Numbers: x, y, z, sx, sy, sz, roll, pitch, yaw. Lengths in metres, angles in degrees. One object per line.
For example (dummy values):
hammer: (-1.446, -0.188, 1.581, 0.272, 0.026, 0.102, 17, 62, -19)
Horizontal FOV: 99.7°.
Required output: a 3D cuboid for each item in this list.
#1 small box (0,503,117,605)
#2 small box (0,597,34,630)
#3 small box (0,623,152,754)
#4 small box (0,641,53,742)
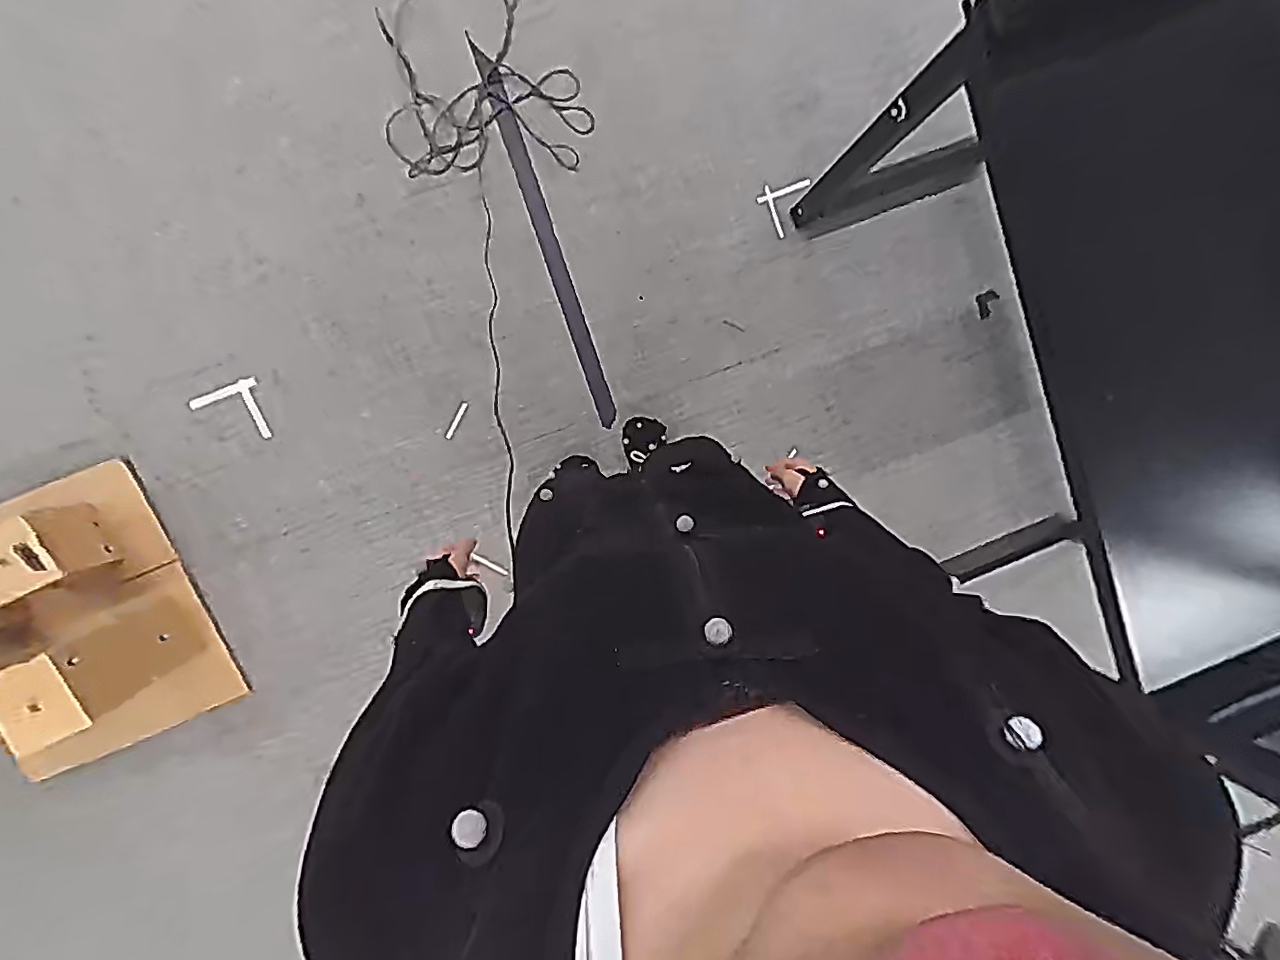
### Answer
small box: (-1.422, 0.169, 1.292, 0.179, 0.176, 0.168, -26, 98, -2)
small box: (-1.645, 0.306, 1.289, 0.168, 0.176, 0.179, -27, 98, -1)
small box: (-1.232, 0.443, 1.174, 0.168, 0.176, 0.179, -25, 98, -2)
small box: (-1.544, 0.528, 1.319, 0.168, 0.176, 0.179, -27, 99, -2)
